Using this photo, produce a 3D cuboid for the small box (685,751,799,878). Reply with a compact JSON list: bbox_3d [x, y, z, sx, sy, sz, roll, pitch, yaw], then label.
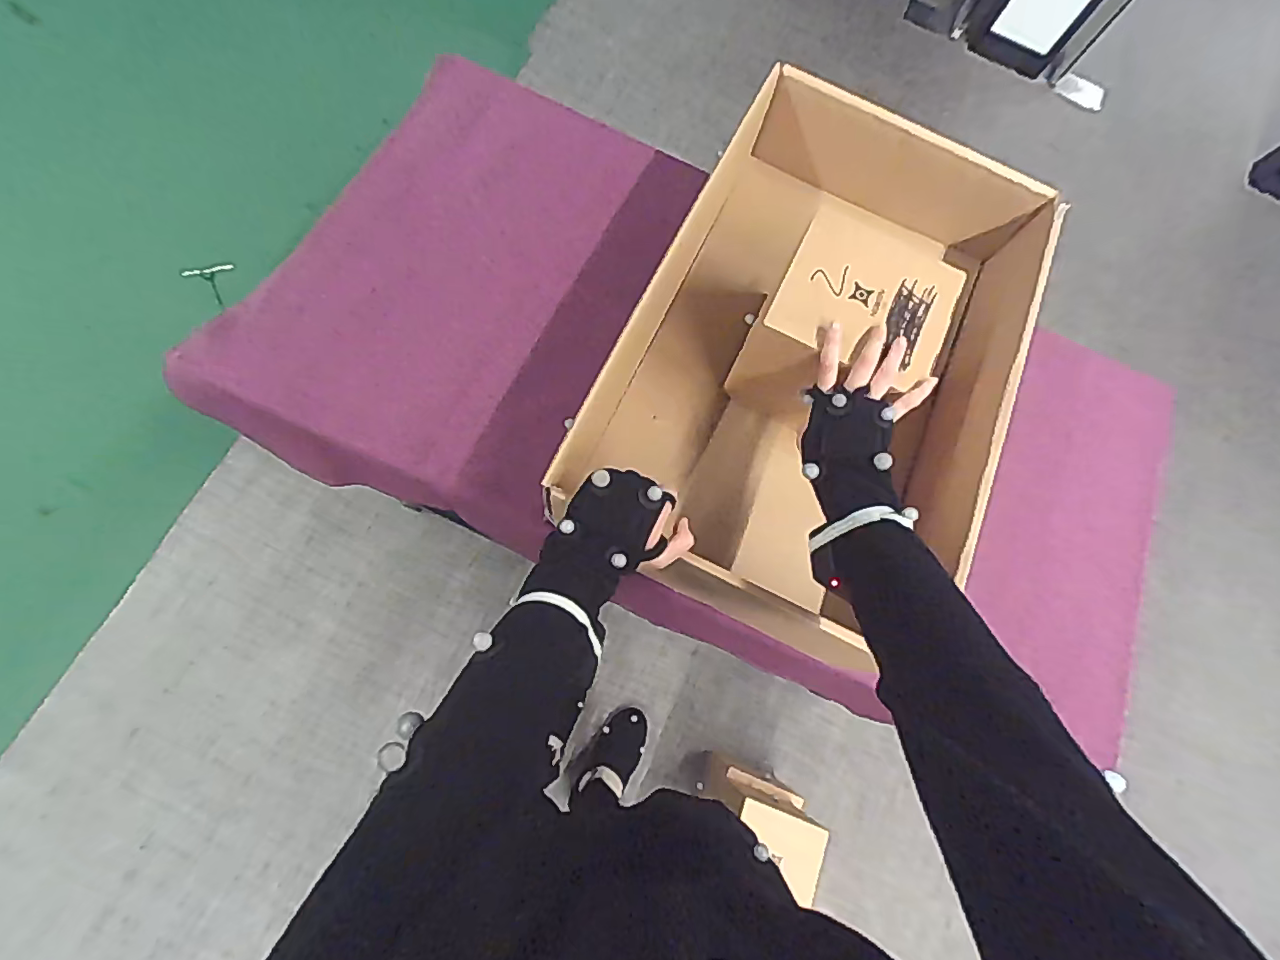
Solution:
[{"bbox_3d":[0.219,0.726,1.197,0.179,0.176,0.168,24,73,0],"label":"small box"}]
